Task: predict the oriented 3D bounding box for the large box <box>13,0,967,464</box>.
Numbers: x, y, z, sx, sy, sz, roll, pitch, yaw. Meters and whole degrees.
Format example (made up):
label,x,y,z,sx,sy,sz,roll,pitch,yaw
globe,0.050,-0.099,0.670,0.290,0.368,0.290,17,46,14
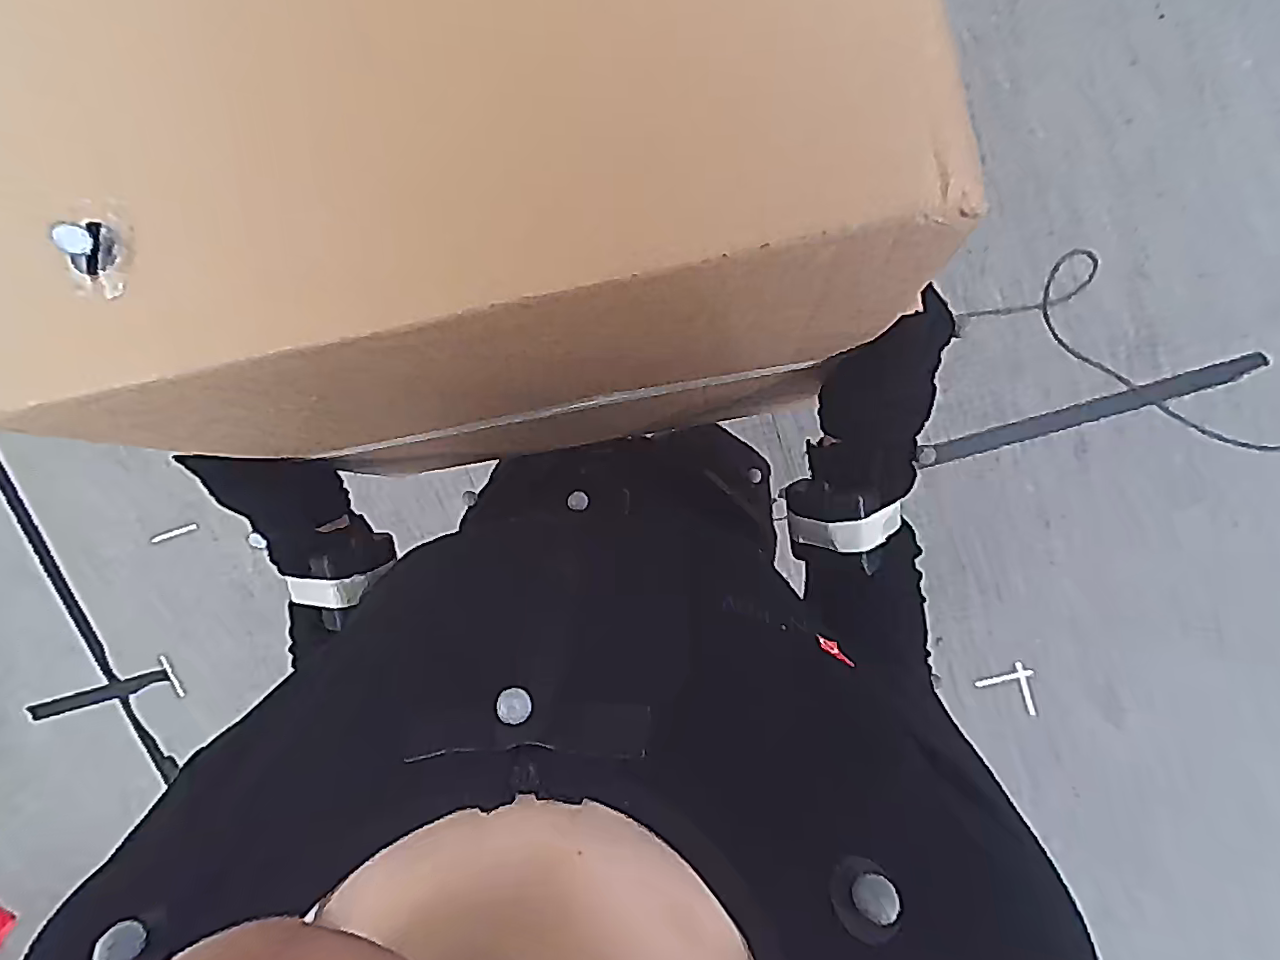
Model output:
label,x,y,z,sx,sy,sz,roll,pitch,yaw
large box,-0.082,-0.209,0.372,0.408,0.320,0.320,-9,85,7
